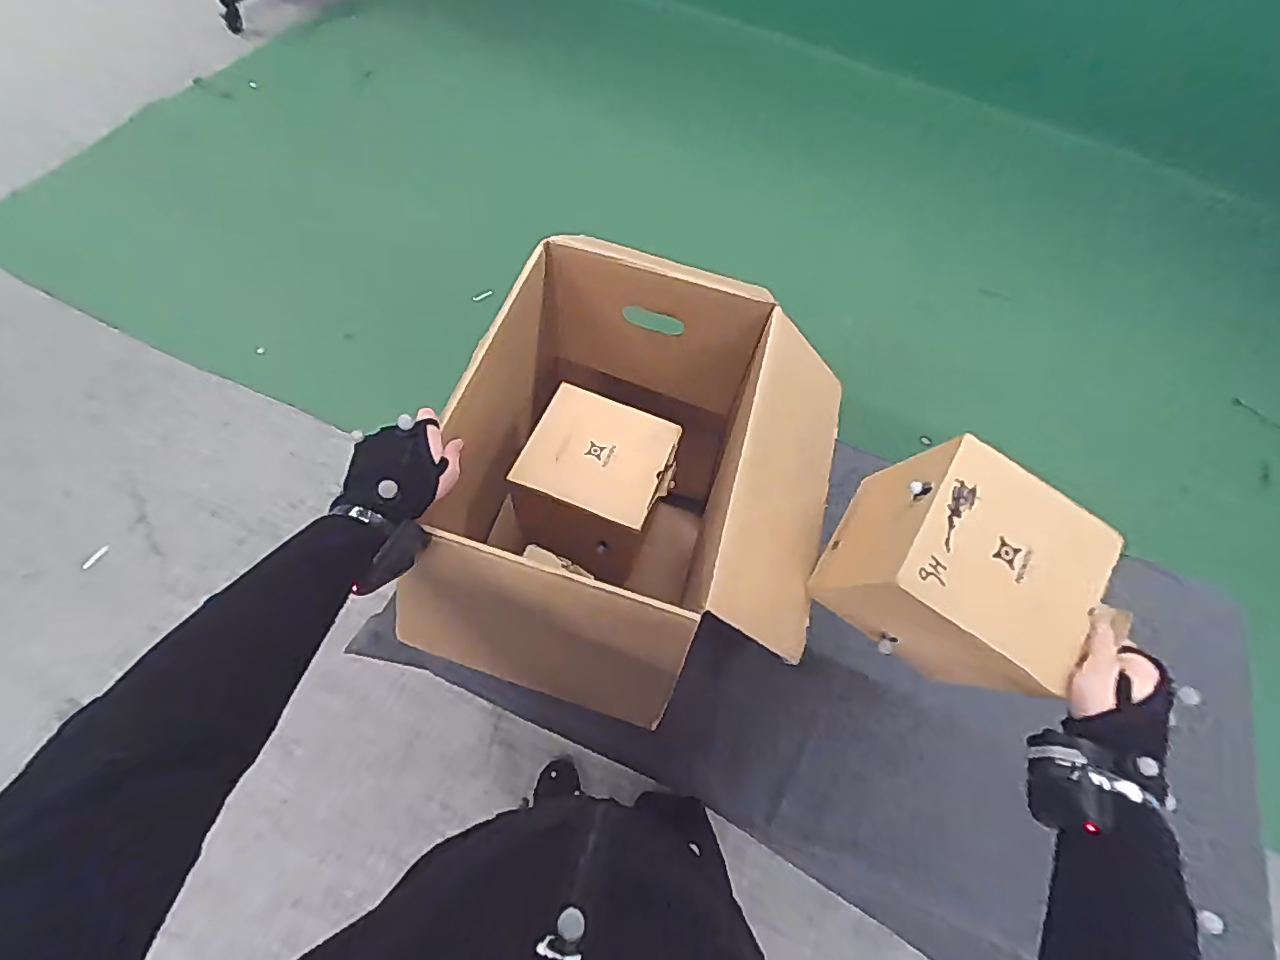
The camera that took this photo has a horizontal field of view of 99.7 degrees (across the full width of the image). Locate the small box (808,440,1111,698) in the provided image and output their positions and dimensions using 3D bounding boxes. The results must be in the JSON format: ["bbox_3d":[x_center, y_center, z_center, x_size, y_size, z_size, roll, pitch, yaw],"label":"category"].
[{"bbox_3d":[0.312,0.092,0.556,0.179,0.176,0.168,36,71,0],"label":"small box"}]
